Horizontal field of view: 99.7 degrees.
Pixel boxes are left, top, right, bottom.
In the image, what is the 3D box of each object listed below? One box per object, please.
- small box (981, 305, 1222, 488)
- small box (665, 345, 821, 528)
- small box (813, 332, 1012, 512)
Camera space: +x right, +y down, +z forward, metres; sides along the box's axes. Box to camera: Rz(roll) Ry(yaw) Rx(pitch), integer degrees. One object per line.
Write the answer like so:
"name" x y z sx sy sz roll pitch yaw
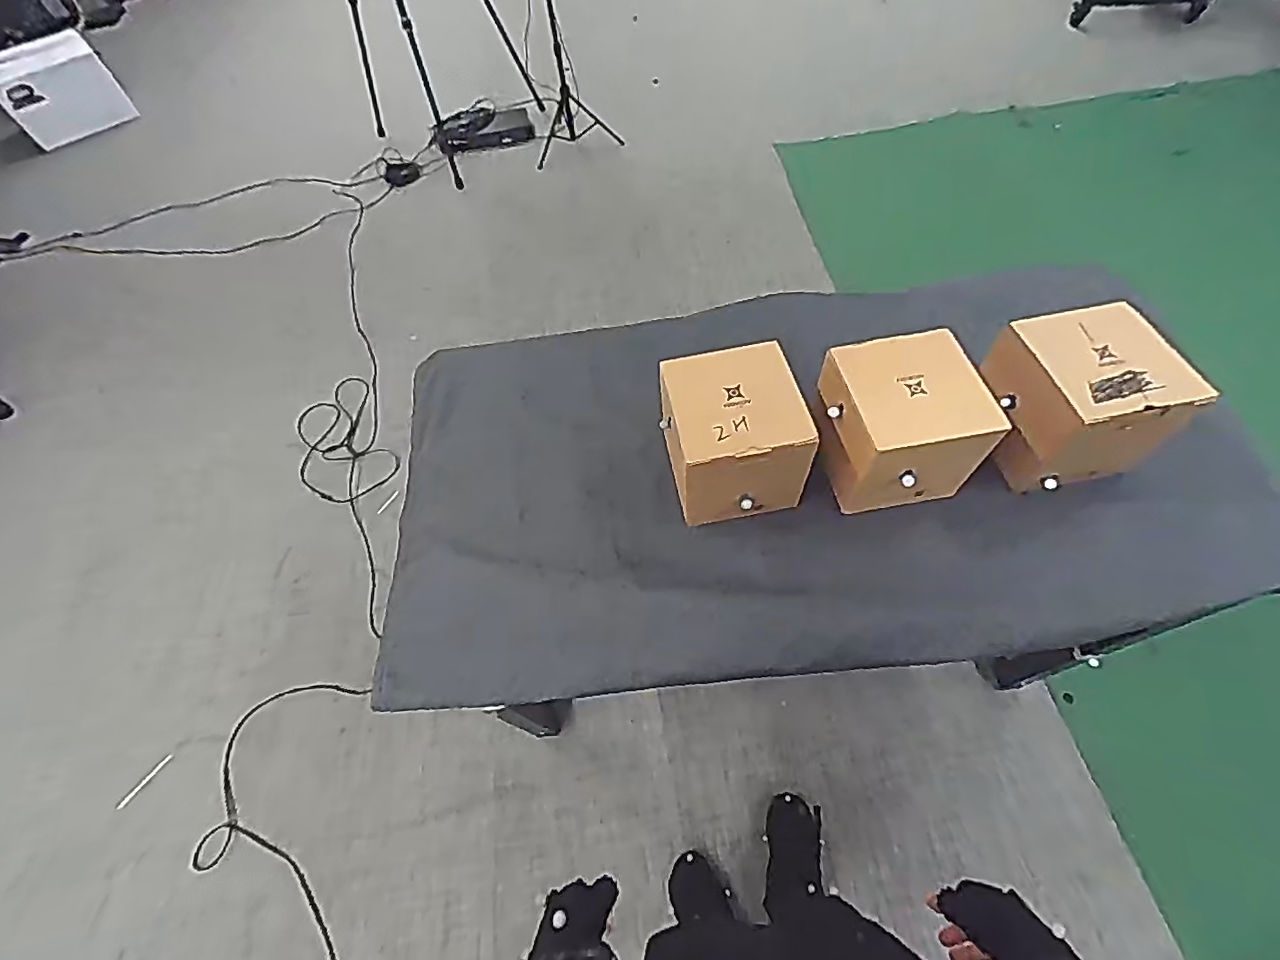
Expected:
"small box" 0.591 -0.104 0.737 0.168 0.176 0.179 -10 57 -1
"small box" 0.129 -0.056 0.754 0.168 0.176 0.179 -10 58 -1
"small box" 0.353 -0.069 0.742 0.168 0.176 0.179 -10 57 0
